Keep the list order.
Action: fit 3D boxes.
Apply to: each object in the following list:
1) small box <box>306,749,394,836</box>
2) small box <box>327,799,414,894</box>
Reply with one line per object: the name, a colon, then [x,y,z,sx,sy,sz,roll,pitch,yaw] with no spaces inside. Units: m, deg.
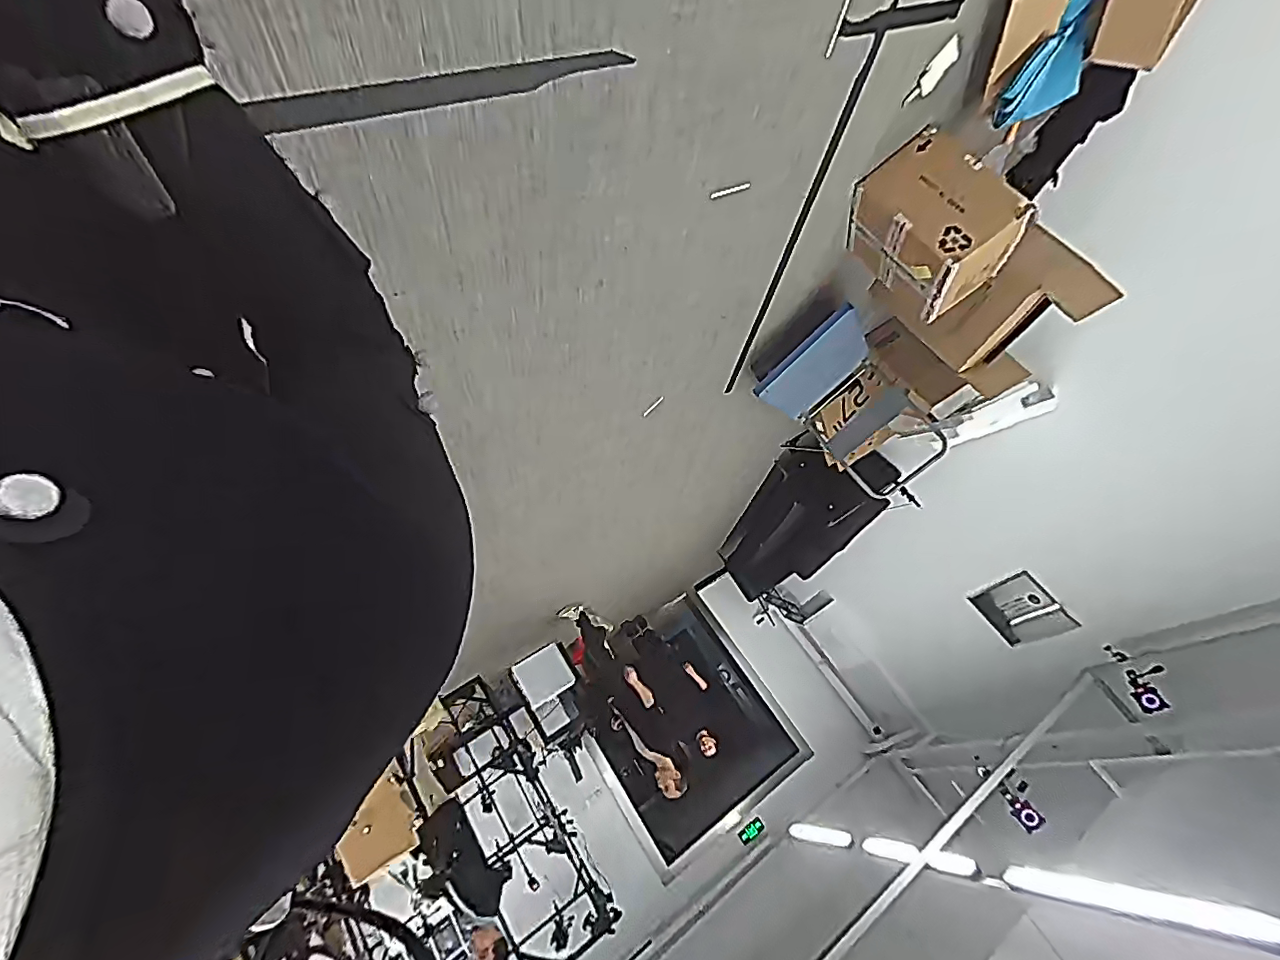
small box: [-0.892,0.956,1.666,0.168,0.176,0.179,-29,159,-23]
small box: [-0.801,1.085,1.616,0.168,0.176,0.179,-28,159,-26]
